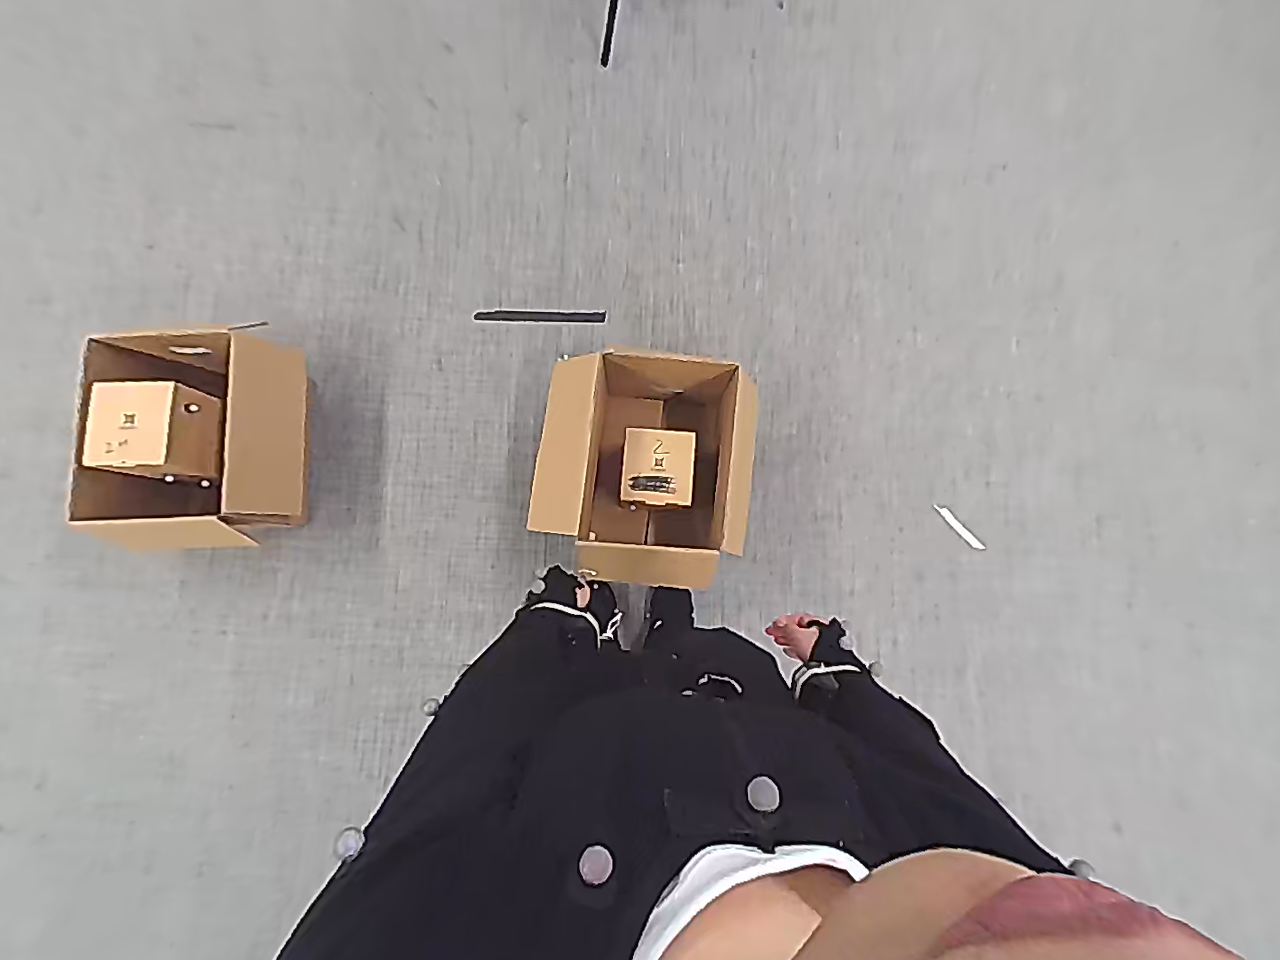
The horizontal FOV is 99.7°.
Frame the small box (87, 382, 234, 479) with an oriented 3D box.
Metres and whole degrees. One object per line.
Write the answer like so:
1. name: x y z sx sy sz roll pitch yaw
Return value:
1. small box: -1.023 -0.101 1.171 0.168 0.176 0.179 -1 82 0
